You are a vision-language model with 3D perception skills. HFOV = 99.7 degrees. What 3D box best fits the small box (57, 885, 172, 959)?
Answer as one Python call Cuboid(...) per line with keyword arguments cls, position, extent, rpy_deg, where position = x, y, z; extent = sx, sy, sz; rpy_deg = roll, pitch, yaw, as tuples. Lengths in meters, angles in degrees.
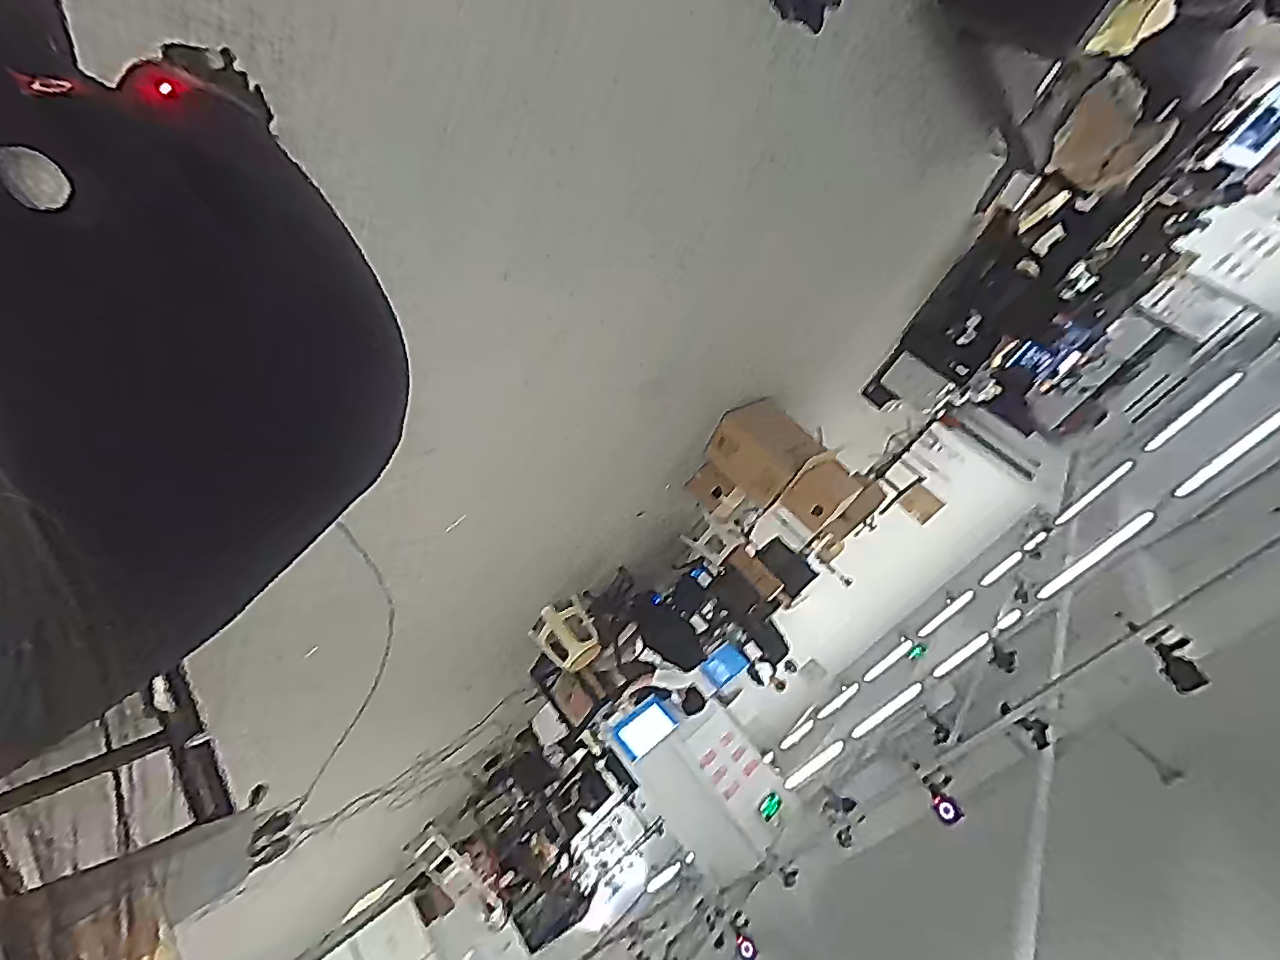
Cuboid(cls="small box", position=(-1.344, 1.189, 1.389), extent=(0.168, 0.176, 0.179), rpy_deg=(-22, 151, -43))
